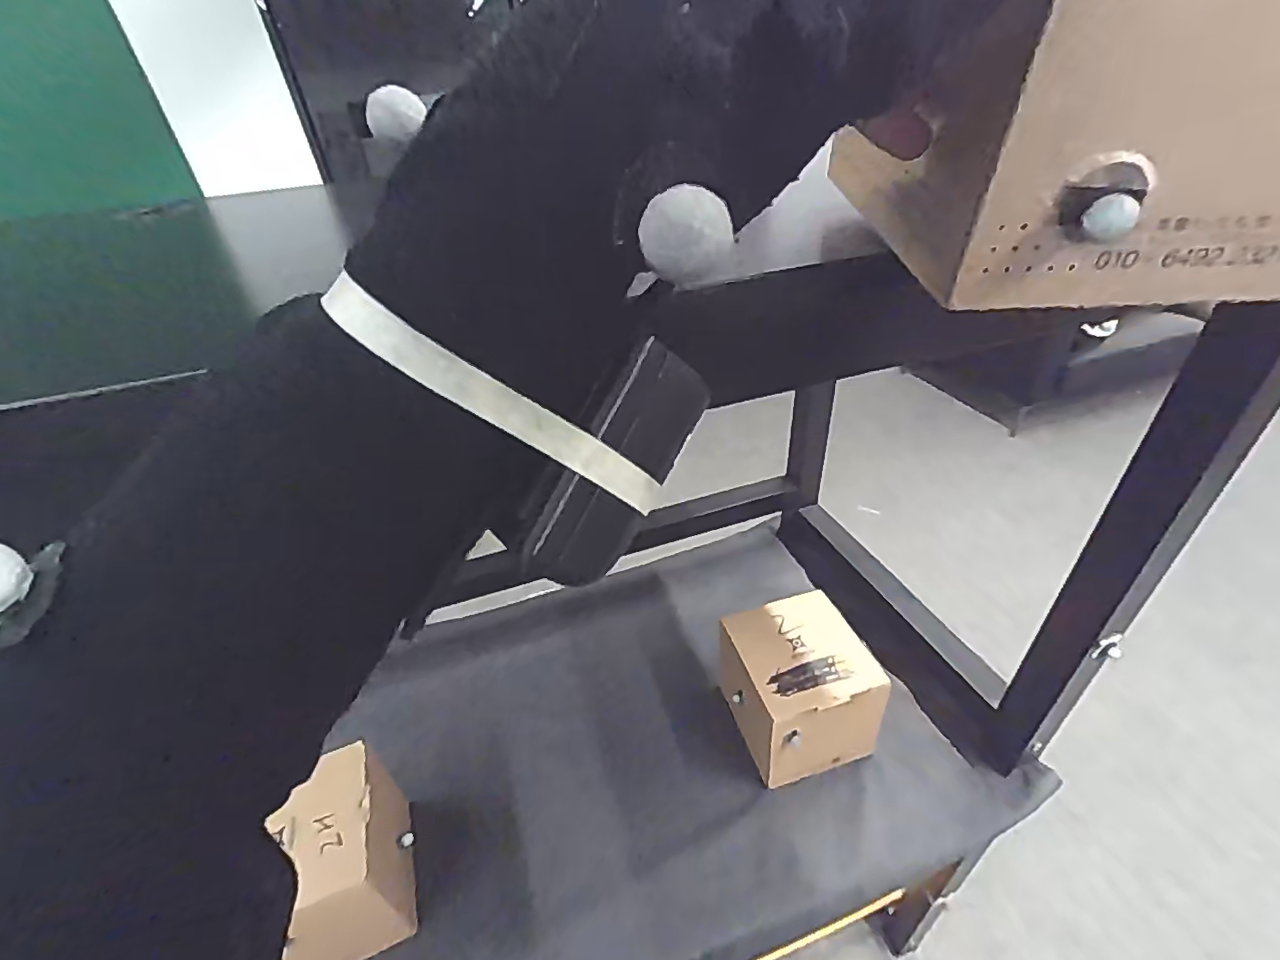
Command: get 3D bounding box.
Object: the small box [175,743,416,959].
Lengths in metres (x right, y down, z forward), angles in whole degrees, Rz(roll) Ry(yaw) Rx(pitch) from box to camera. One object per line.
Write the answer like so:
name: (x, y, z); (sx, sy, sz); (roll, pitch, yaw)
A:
small box: (-0.384, 0.460, 0.640); (0.179, 0.176, 0.168); (-17, 37, -16)
